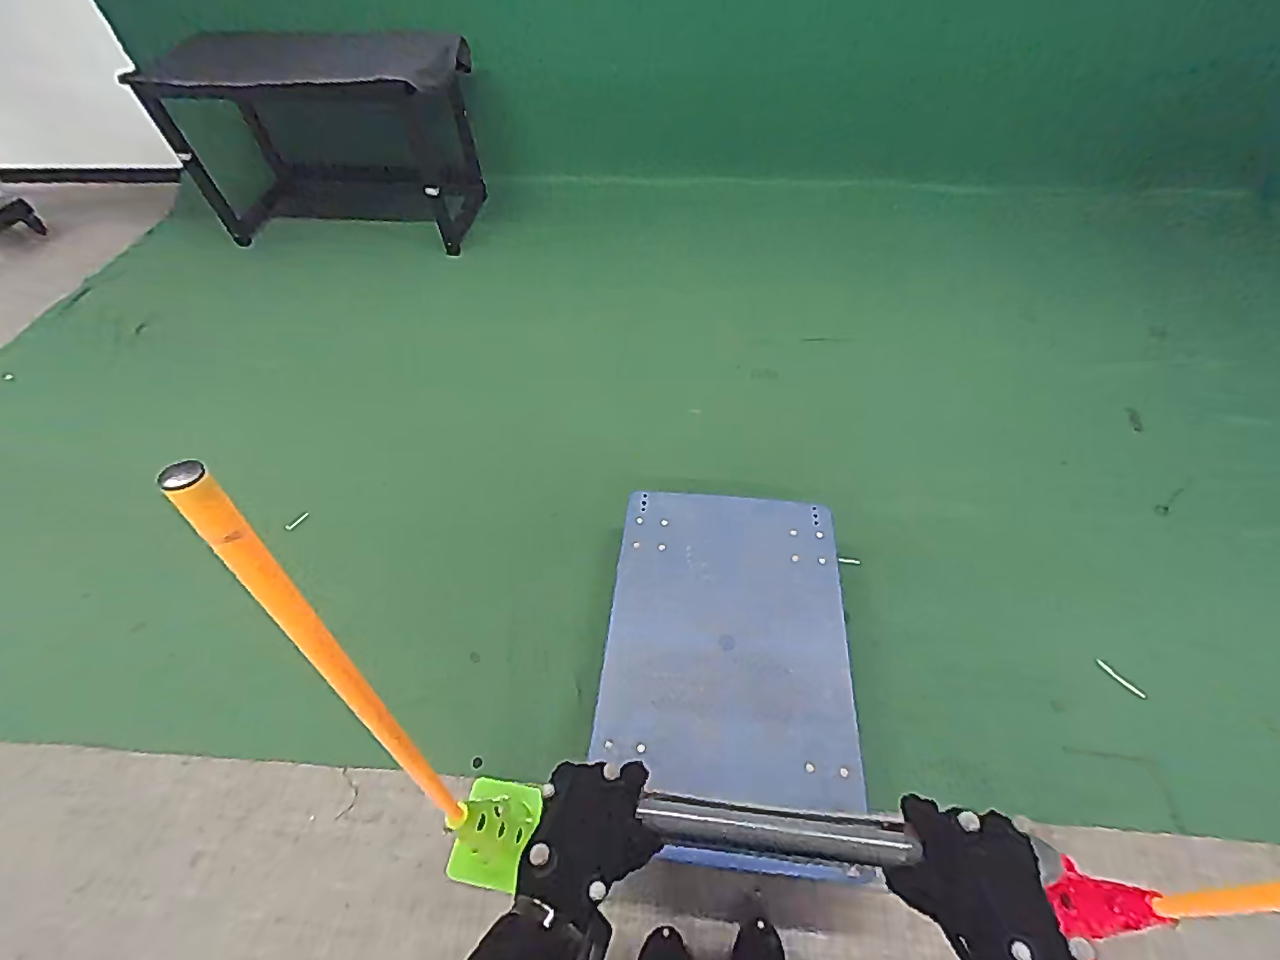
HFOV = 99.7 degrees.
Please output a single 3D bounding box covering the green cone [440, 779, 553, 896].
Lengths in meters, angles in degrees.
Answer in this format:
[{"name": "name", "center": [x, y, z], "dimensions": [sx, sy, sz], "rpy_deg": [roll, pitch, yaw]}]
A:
[{"name": "green cone", "center": [-0.319, 0.694, 1.090], "dimensions": [0.202, 0.368, 0.200], "rpy_deg": [6, 52, 8]}]
